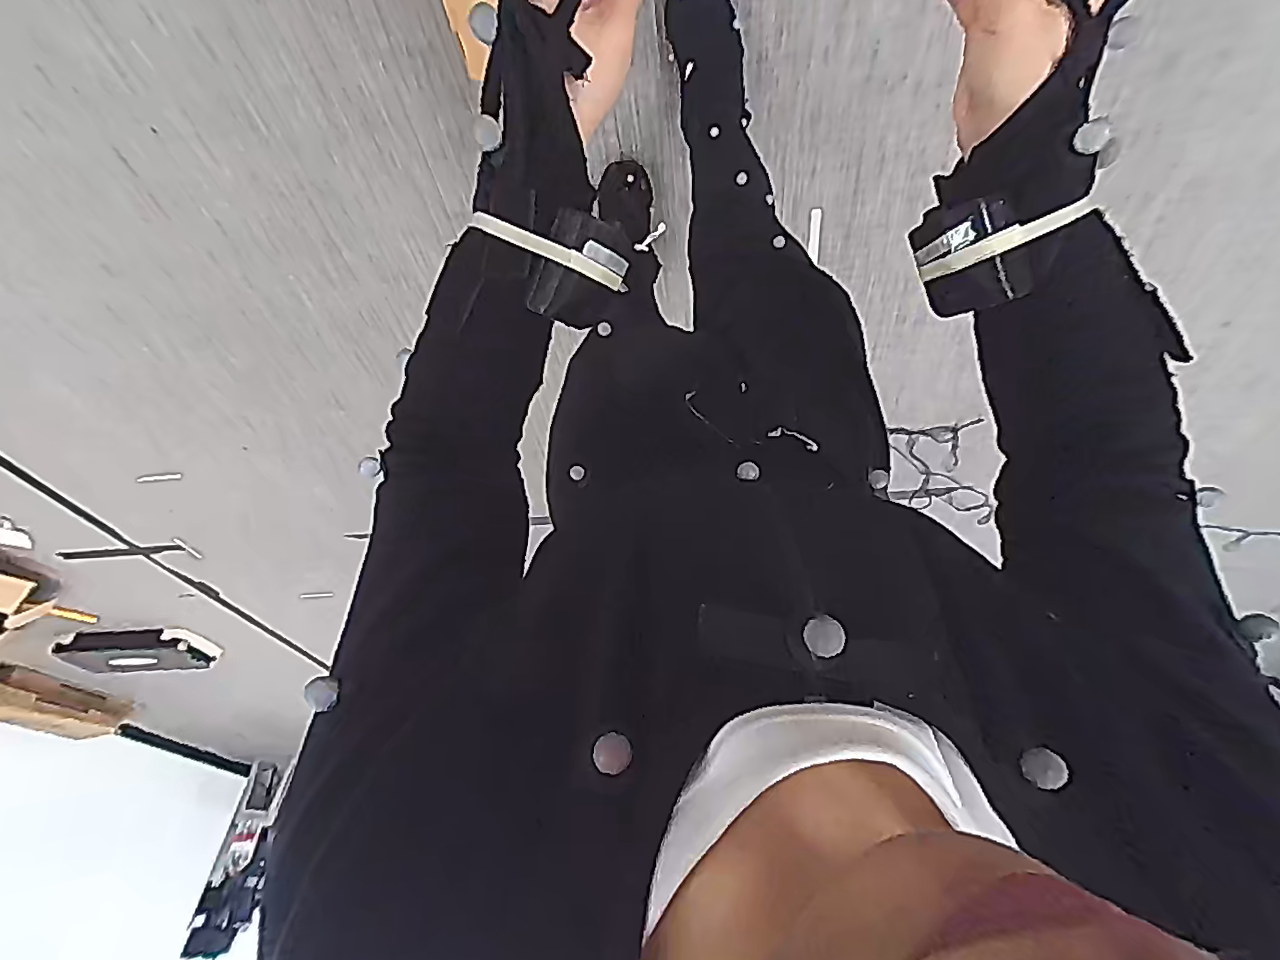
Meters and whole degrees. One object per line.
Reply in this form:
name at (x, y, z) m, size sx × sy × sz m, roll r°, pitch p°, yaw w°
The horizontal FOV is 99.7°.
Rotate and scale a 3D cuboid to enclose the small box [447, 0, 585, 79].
small box at (-0.180, -0.724, 0.792) m, size 0.179 × 0.176 × 0.168 m, roll -5°, pitch 140°, yaw 6°
